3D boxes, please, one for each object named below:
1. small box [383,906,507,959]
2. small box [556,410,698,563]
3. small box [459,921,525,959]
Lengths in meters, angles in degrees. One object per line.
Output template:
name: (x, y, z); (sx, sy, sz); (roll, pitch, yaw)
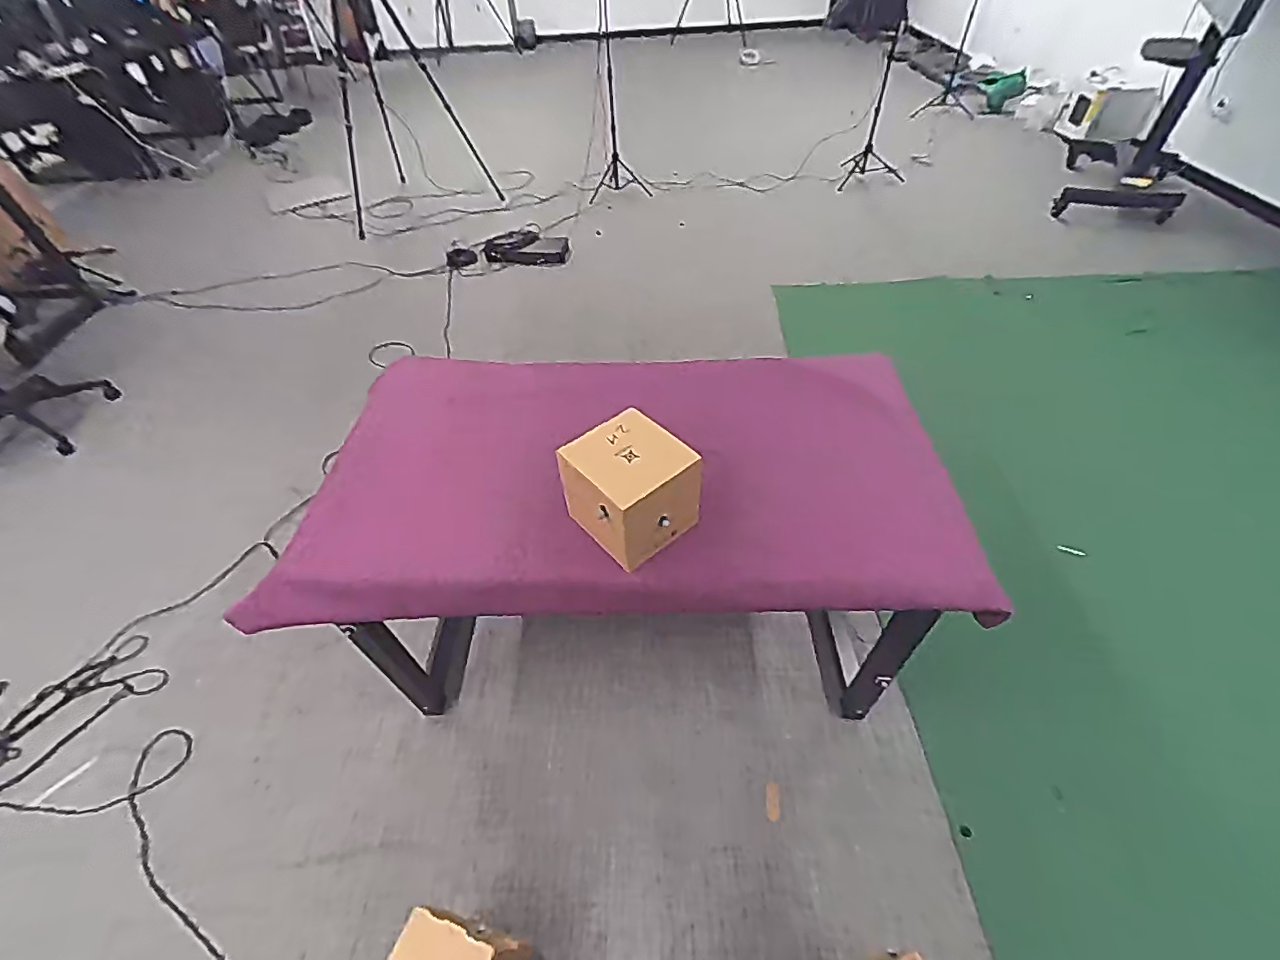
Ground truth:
small box: (-0.350, 0.877, 0.927); (0.168, 0.176, 0.179); (14, 49, 16)
small box: (-0.019, 0.018, 0.926); (0.168, 0.176, 0.179); (-32, 53, -26)
small box: (-0.336, 0.984, 1.047); (0.168, 0.176, 0.179); (10, 50, 12)
